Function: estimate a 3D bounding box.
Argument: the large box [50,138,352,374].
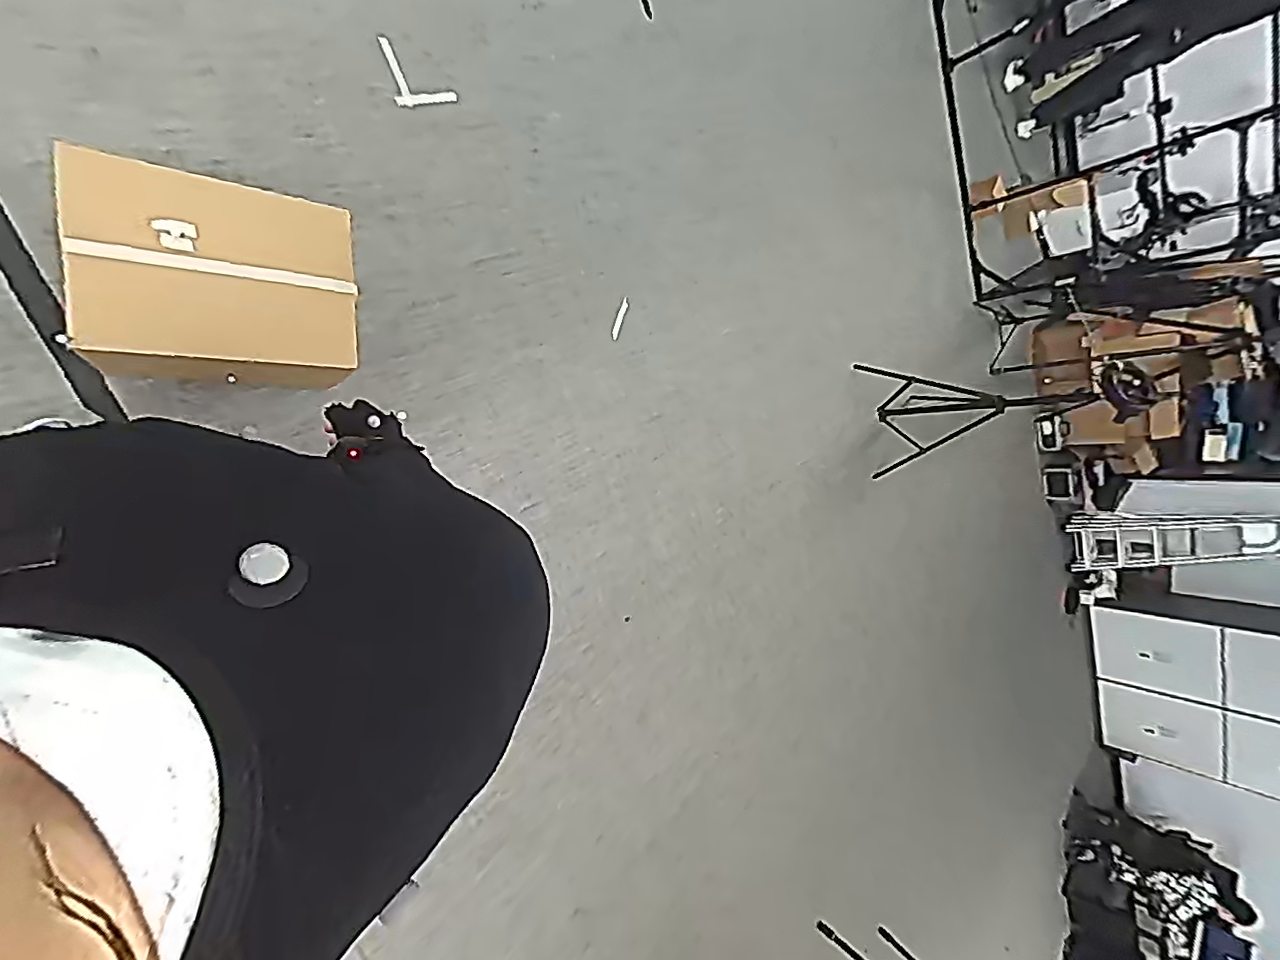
[{"bbox_3d":[-0.826,-0.388,1.068,0.408,0.320,0.320,-3,93,-37],"label":"large box"}]
